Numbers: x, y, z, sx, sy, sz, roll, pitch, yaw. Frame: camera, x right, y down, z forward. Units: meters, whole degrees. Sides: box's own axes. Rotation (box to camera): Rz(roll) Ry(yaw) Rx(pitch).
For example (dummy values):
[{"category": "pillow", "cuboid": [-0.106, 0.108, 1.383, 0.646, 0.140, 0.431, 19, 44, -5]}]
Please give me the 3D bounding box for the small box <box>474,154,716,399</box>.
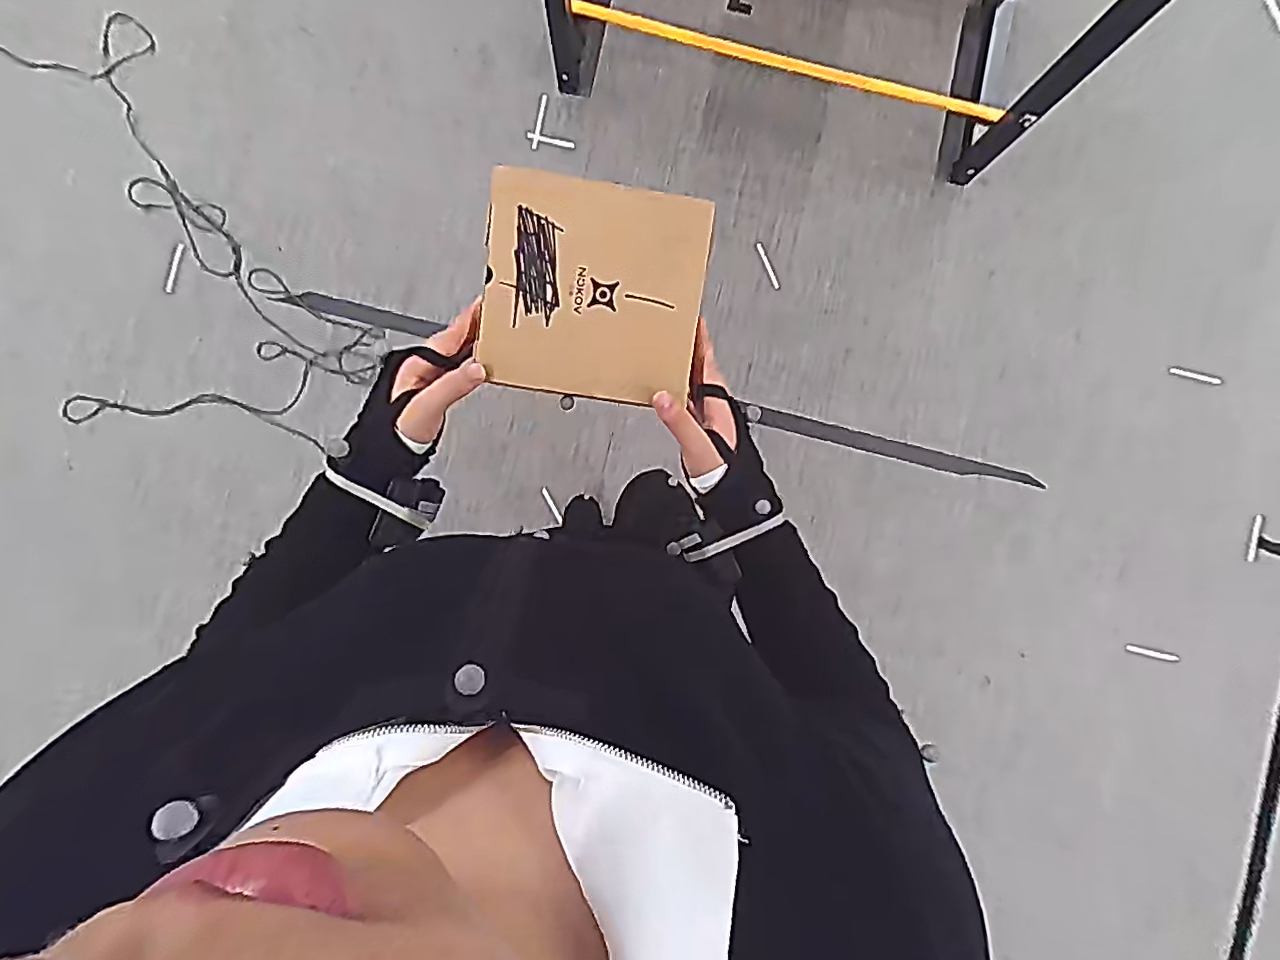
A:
[{"category": "small box", "cuboid": [-0.041, -0.170, 0.509, 0.179, 0.176, 0.168, 7, 97, -5]}]
